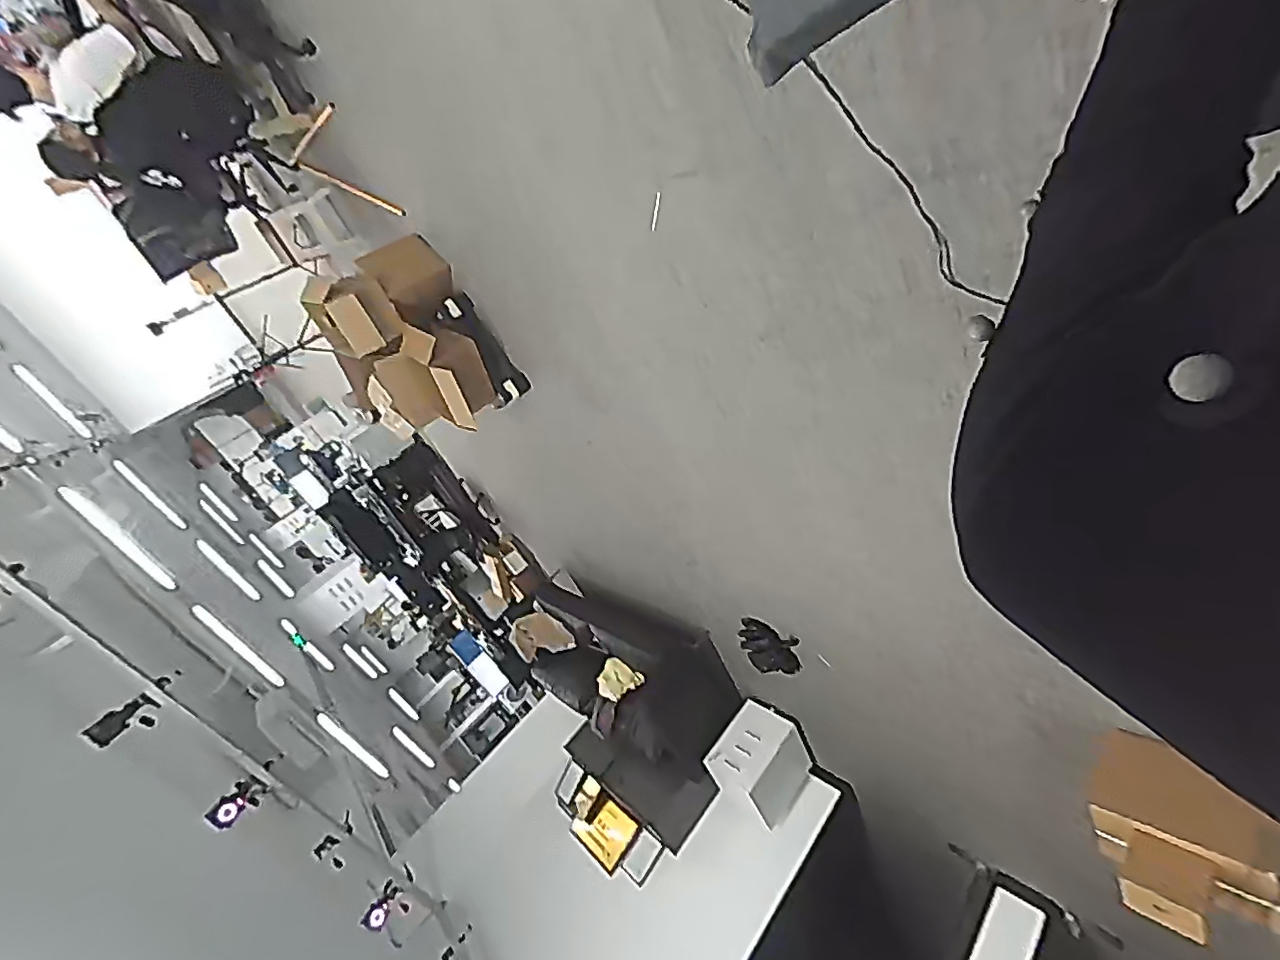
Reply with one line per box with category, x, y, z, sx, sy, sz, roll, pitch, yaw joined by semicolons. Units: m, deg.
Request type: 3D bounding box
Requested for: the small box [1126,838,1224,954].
small box;1.553;1.193;1.565;0.179;0.176;0.168;4;128;55
